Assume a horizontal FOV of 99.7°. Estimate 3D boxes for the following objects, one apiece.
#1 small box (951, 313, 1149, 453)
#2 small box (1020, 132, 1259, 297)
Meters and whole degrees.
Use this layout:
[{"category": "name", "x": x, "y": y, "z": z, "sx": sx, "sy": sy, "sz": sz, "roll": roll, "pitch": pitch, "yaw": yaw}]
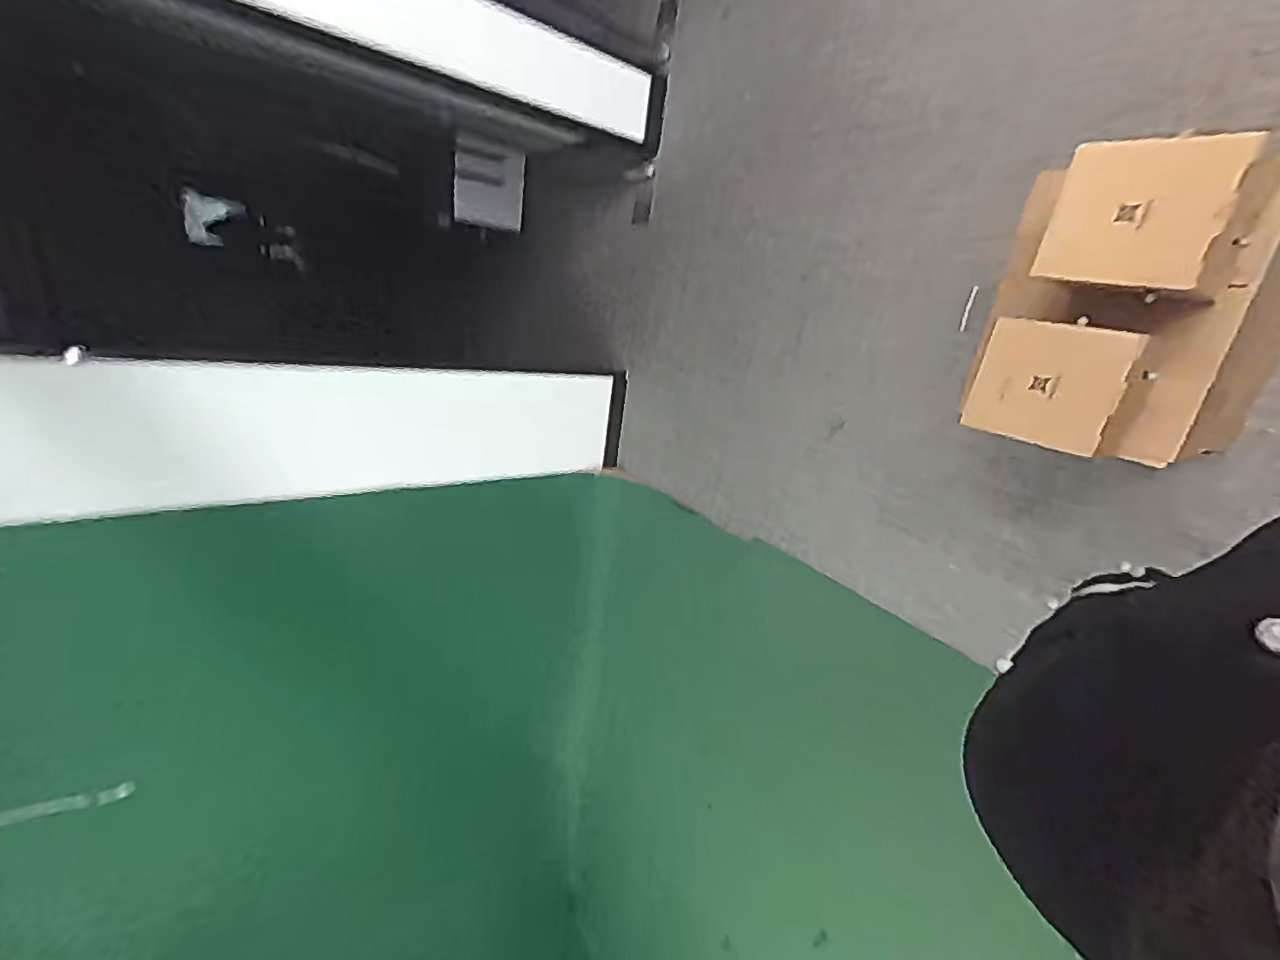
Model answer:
[{"category": "small box", "x": 0.622, "y": -0.149, "z": 0.821, "sx": 0.179, "sy": 0.176, "sz": 0.168, "roll": 31, "pitch": 117, "yaw": 45}, {"category": "small box", "x": 0.667, "y": -0.347, "z": 0.729, "sx": 0.179, "sy": 0.176, "sz": 0.168, "roll": 32, "pitch": 121, "yaw": 45}]
